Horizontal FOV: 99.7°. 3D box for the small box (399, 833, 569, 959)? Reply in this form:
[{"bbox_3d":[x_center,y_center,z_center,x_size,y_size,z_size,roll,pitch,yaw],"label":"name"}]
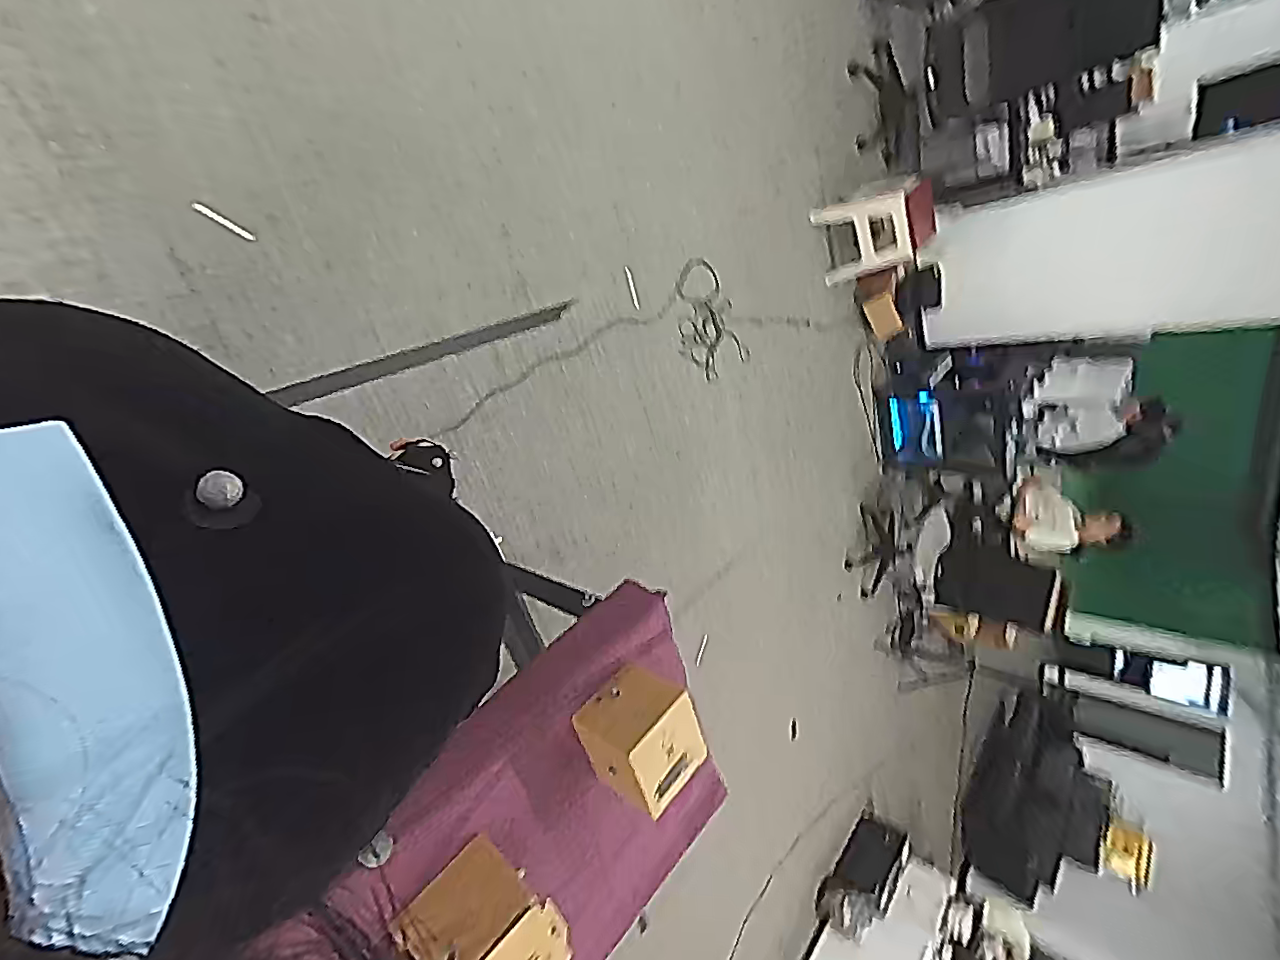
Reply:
[{"bbox_3d":[-0.248,0.712,0.844,0.179,0.176,0.168,-36,121,-35],"label":"small box"}]
